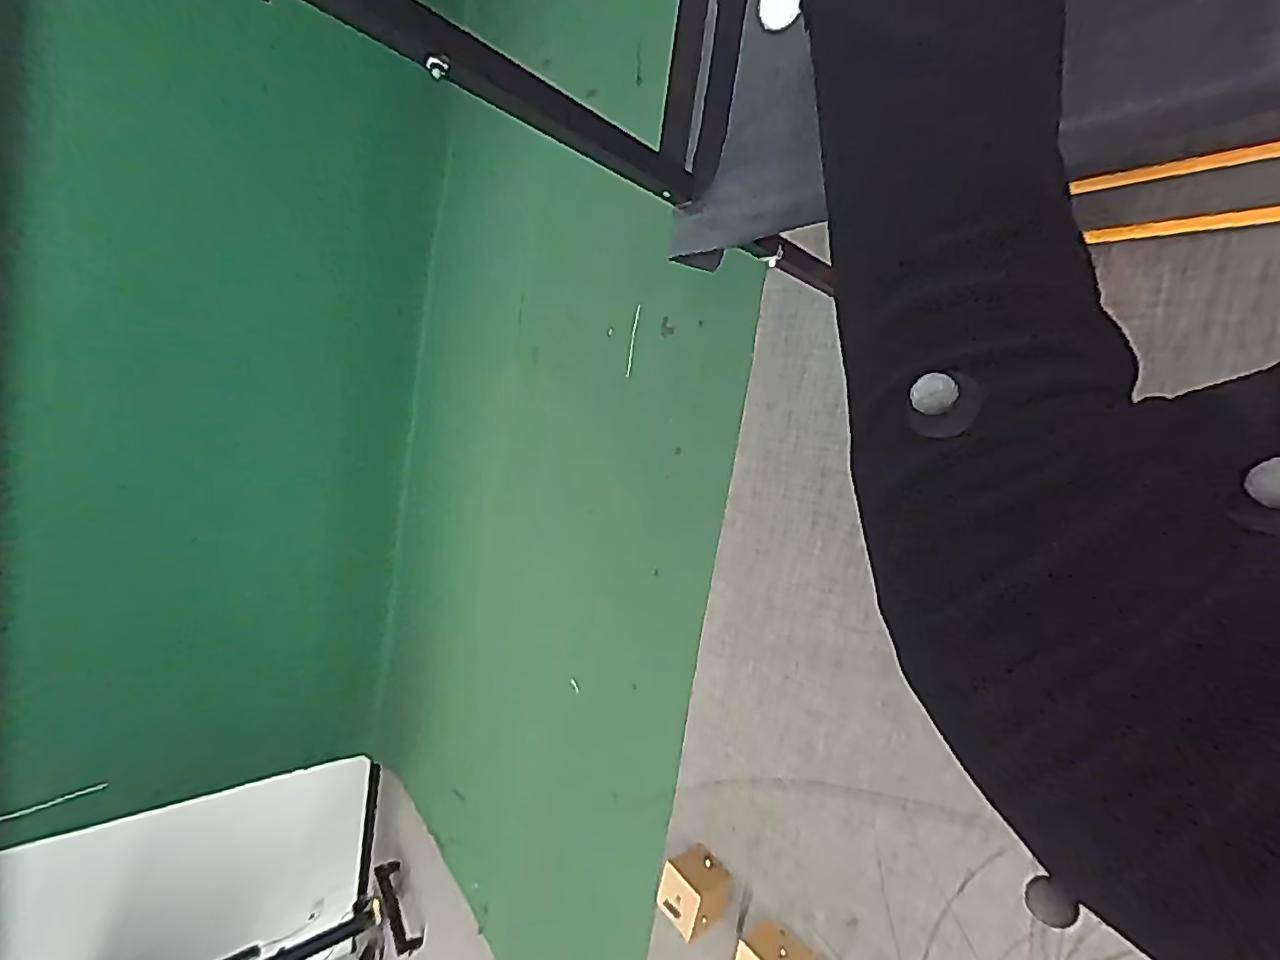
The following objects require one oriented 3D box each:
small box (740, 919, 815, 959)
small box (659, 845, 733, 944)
[{"bbox_3d":[0.405,1.468,1.602,0.168,0.176,0.179,15,99,48],"label":"small box"},{"bbox_3d":[0.194,1.402,1.842,0.168,0.176,0.179,21,101,47],"label":"small box"}]
